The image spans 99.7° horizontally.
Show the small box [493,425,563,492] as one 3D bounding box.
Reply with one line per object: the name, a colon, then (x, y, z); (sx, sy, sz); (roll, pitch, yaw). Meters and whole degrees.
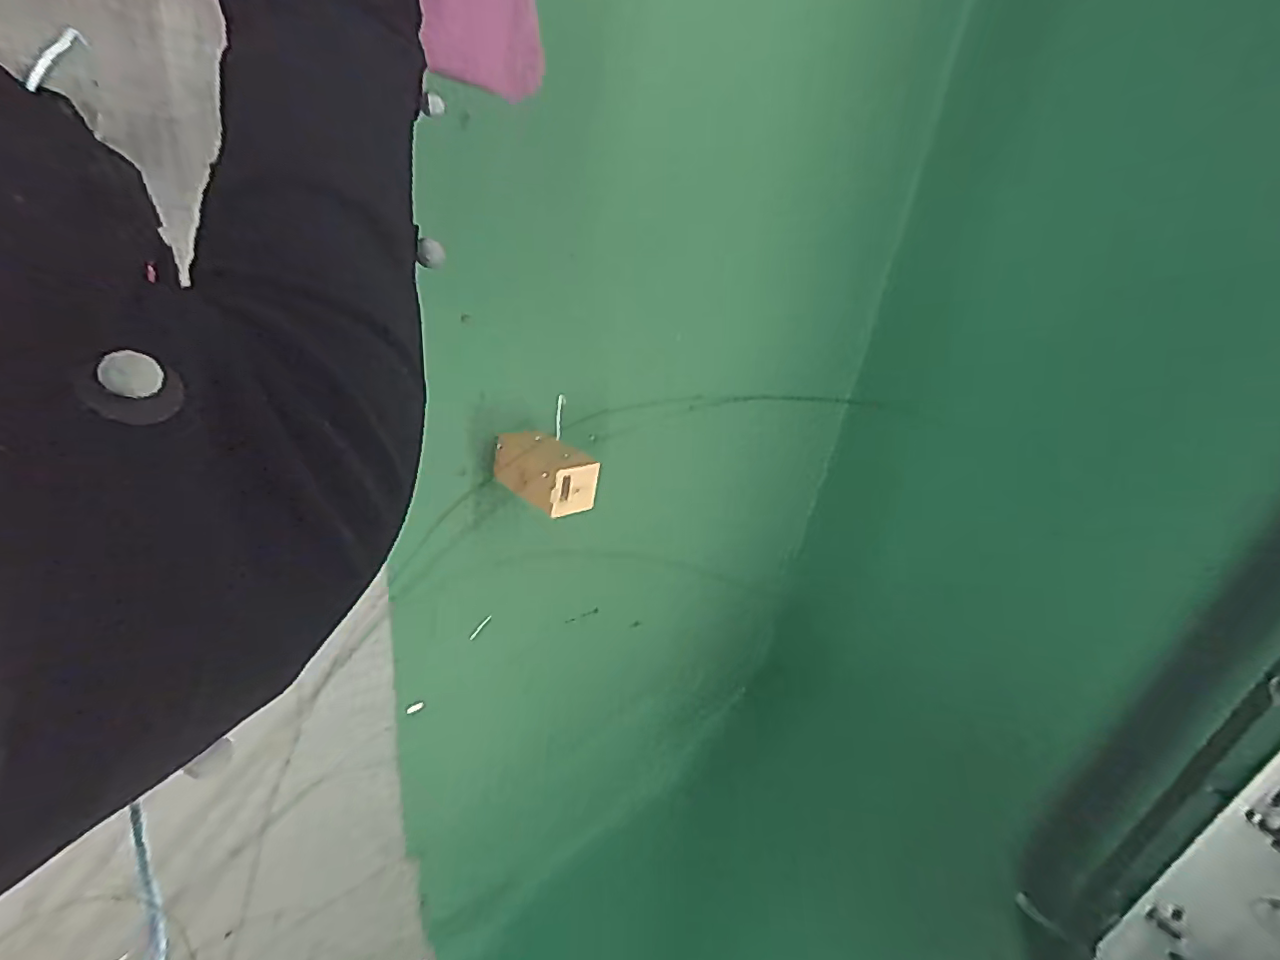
small box: (-0.390, -0.080, 1.859); (0.179, 0.176, 0.168); (-15, 124, -42)
